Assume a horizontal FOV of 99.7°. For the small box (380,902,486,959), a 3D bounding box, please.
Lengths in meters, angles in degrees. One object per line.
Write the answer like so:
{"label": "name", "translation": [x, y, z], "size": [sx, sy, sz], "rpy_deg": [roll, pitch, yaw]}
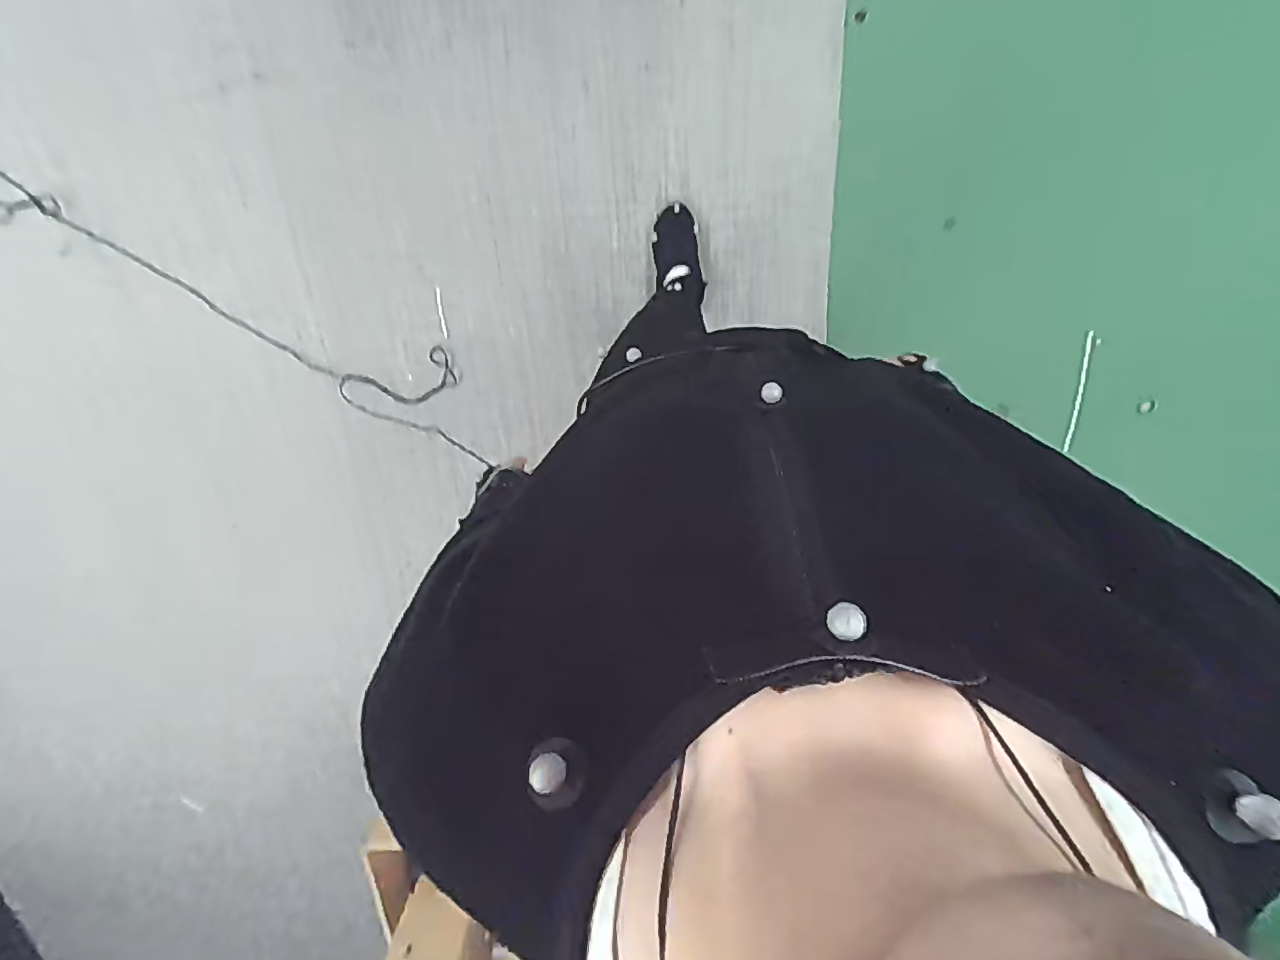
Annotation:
{"label": "small box", "translation": [-0.464, 1.083, 1.198], "size": [0.179, 0.176, 0.168], "rpy_deg": [-10, 109, 3]}
